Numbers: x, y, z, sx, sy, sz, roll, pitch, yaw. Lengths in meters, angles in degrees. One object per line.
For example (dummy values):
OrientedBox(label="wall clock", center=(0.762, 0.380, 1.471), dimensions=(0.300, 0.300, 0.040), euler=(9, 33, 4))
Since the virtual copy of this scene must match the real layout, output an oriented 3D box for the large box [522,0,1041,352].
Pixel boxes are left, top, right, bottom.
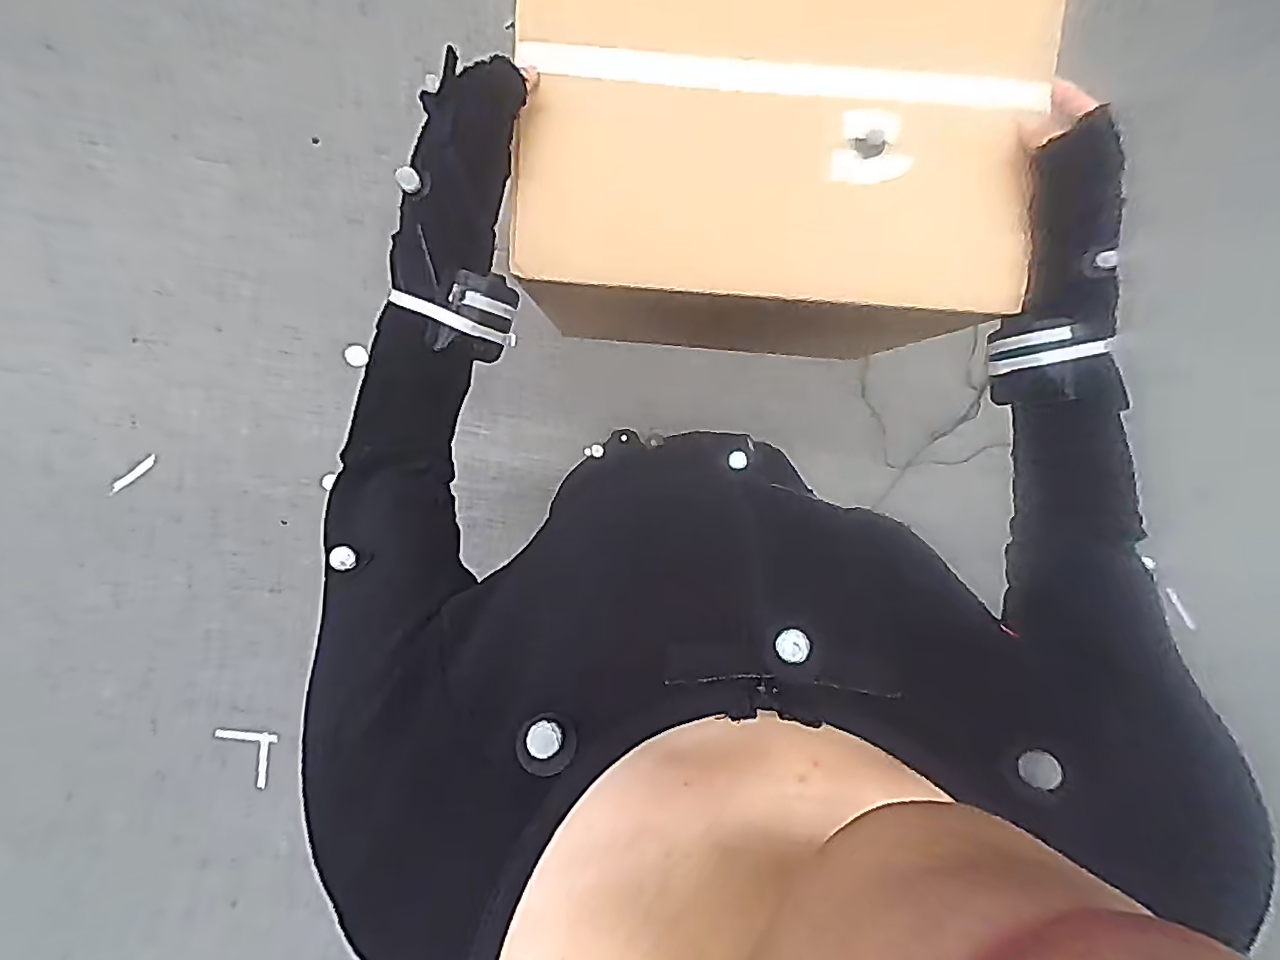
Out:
OrientedBox(label="large box", center=(0.104, -0.321, 0.571), dimensions=(0.408, 0.320, 0.320), euler=(4, 96, -2))
